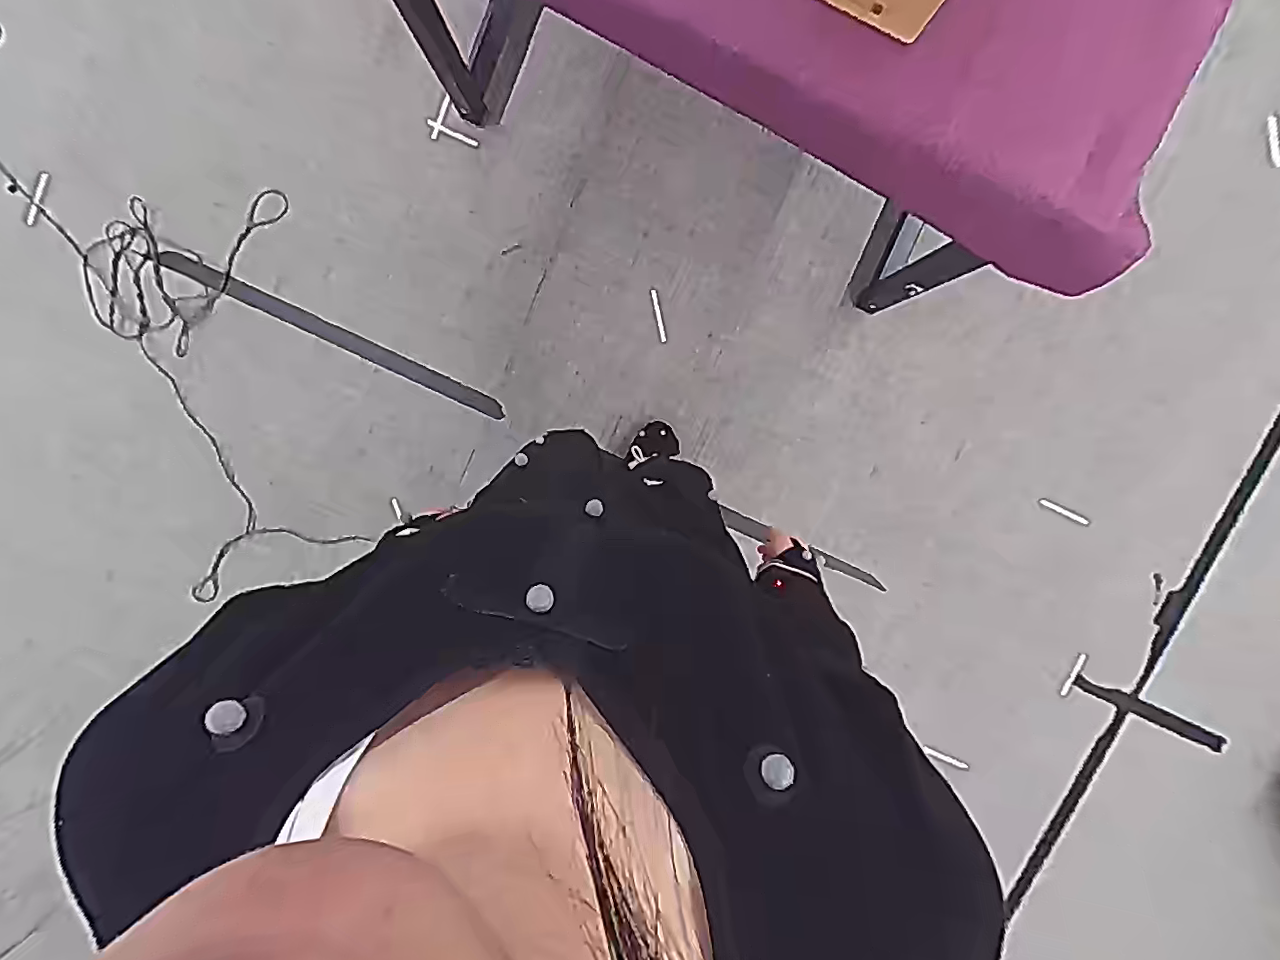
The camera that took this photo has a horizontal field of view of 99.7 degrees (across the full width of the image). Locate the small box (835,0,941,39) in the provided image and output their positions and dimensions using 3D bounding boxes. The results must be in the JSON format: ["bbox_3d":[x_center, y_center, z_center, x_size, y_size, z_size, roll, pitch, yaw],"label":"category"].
[{"bbox_3d":[0.314,-0.665,0.612,0.168,0.176,0.179,24,95,-3],"label":"small box"}]
